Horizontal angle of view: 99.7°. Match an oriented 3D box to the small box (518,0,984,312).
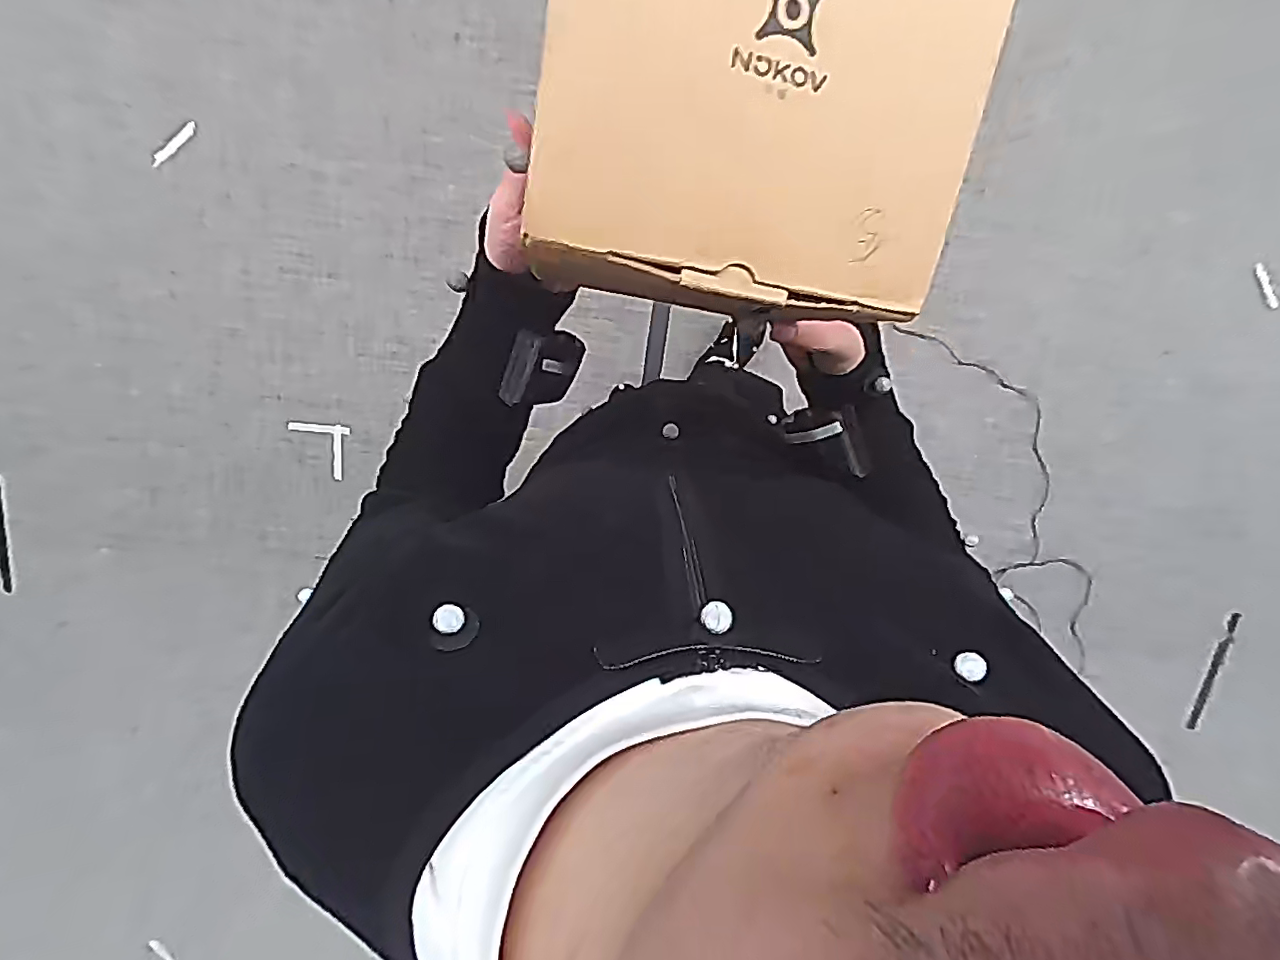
[{"bbox_3d":[0.034,-0.188,0.276,0.168,0.176,0.179,6,105,-12],"label":"small box"}]
